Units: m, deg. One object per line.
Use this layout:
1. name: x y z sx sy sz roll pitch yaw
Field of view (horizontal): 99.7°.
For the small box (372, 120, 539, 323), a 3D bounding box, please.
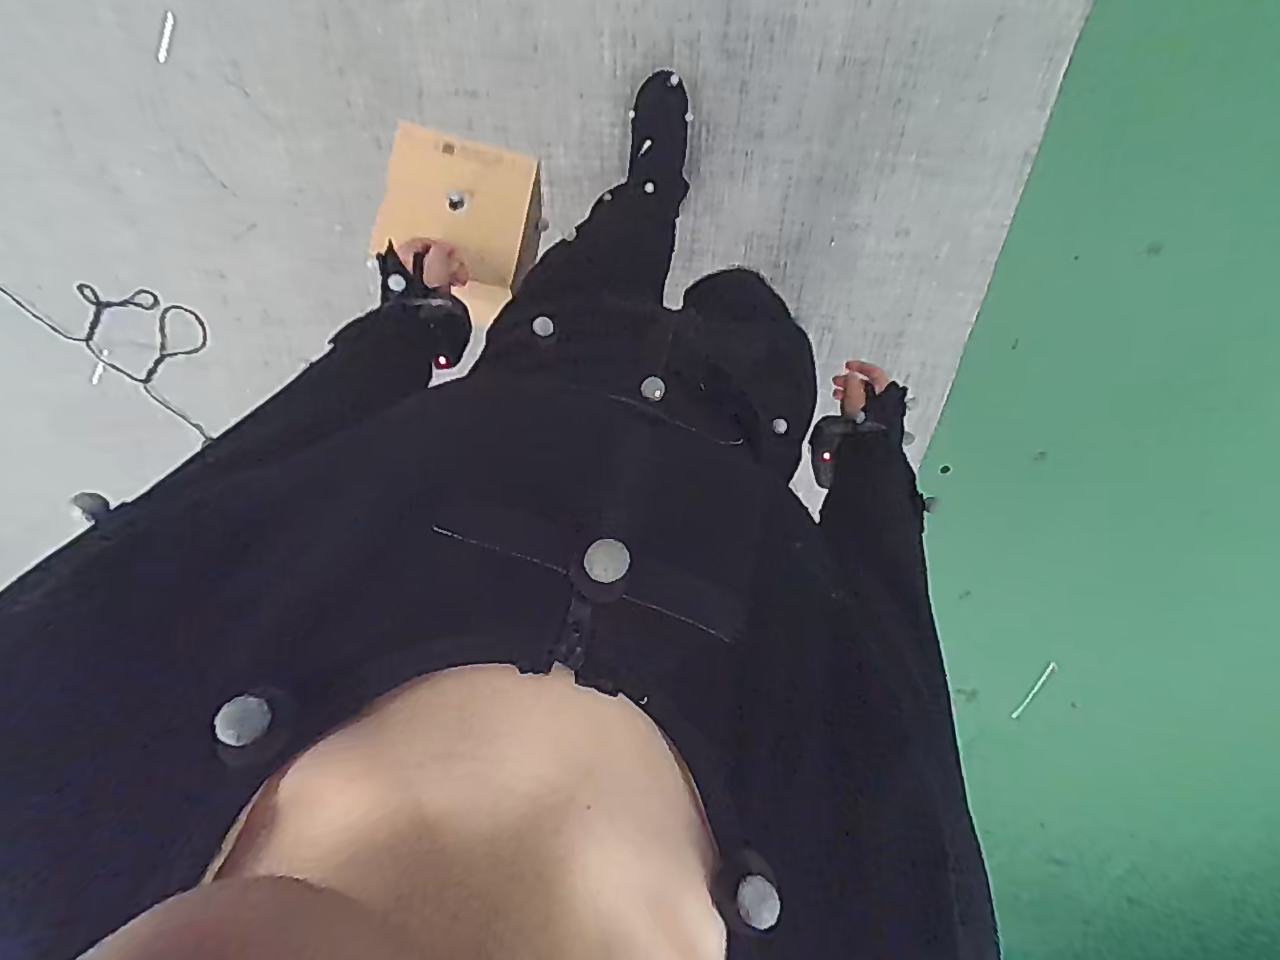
1. small box: -0.231 -0.328 0.714 0.168 0.179 0.176 10 88 -9
